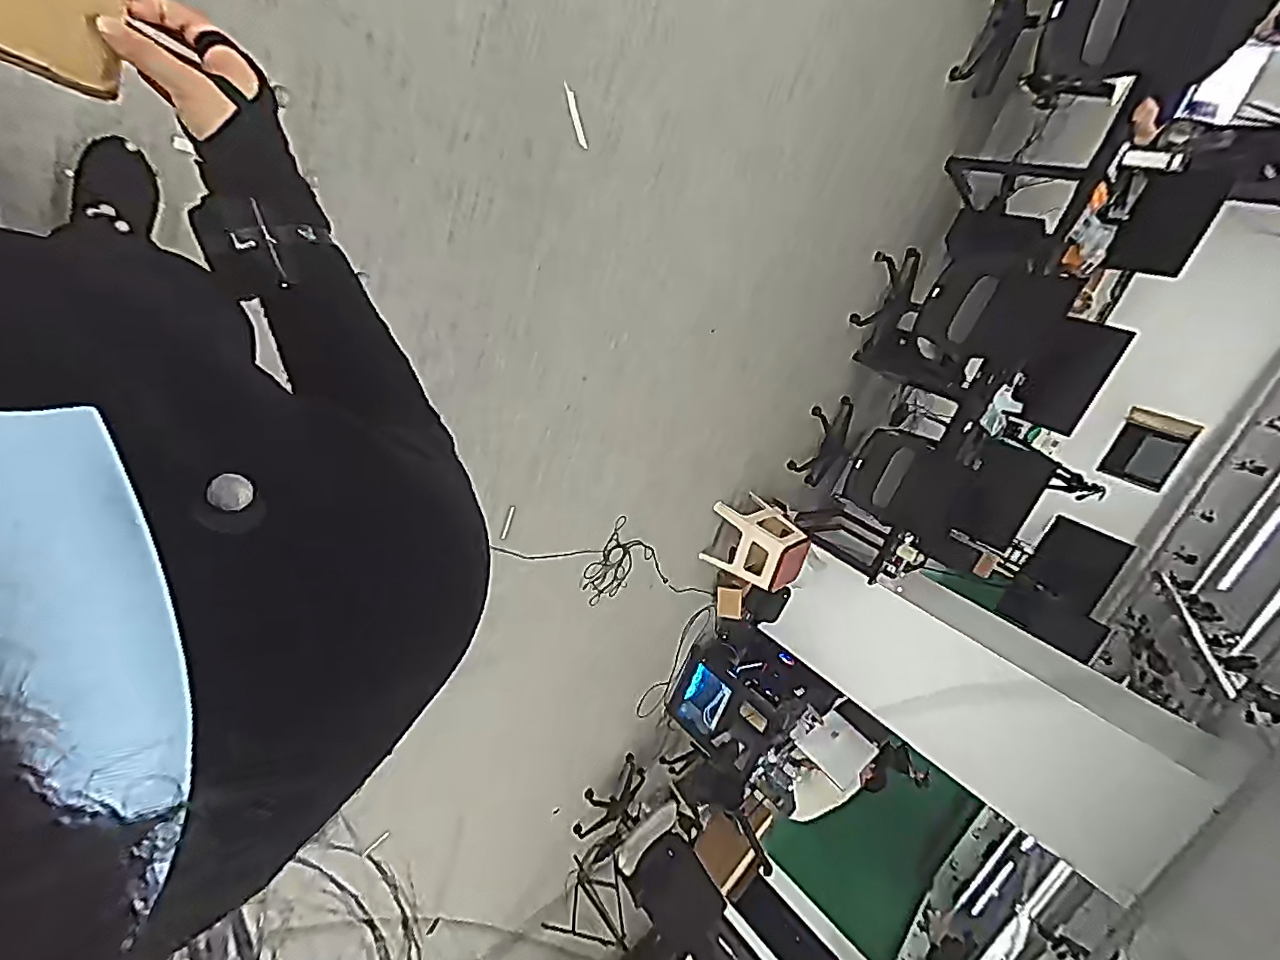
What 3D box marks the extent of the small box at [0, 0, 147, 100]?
[{"bbox_3d":[-0.428,-0.379,0.339,0.168,0.176,0.179,3,114,-50],"label":"small box"}]
